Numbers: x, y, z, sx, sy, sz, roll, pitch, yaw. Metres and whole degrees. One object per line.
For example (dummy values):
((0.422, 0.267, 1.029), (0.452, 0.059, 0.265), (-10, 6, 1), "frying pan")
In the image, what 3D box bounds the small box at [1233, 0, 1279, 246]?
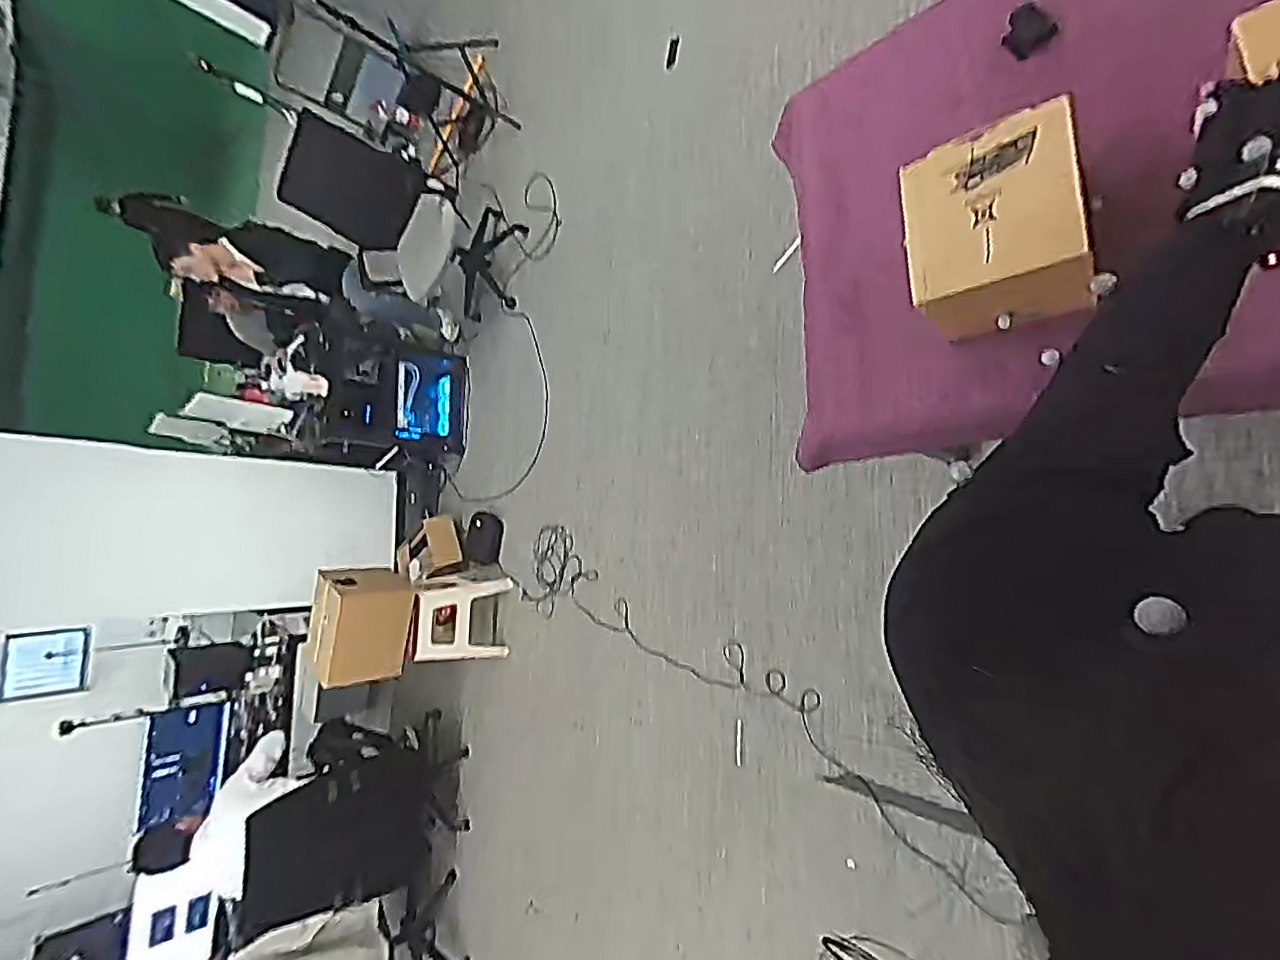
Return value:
((0.651, -0.334, 0.455), (0.179, 0.176, 0.168), (-14, 74, 43), "small box")
